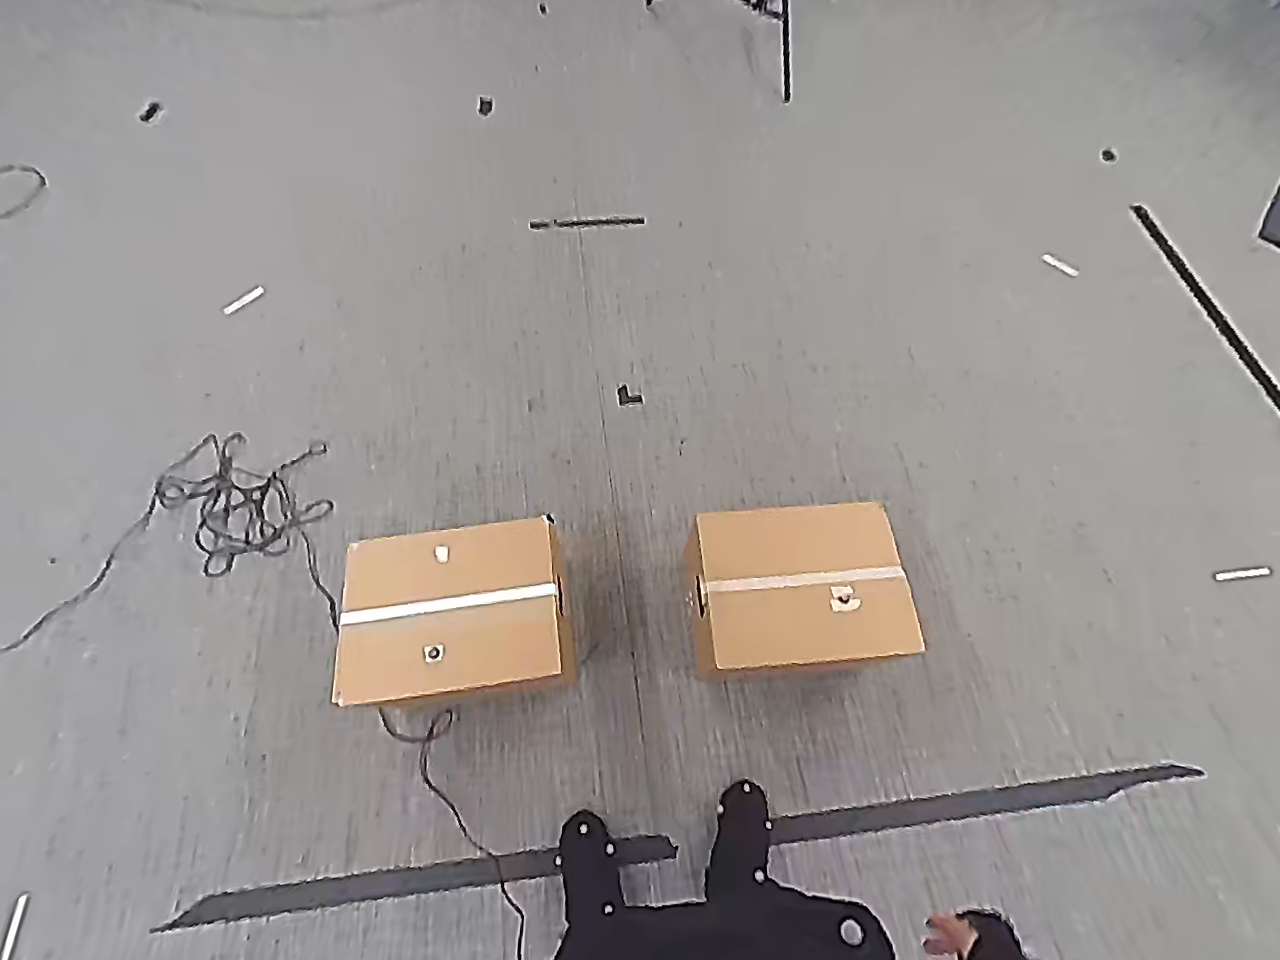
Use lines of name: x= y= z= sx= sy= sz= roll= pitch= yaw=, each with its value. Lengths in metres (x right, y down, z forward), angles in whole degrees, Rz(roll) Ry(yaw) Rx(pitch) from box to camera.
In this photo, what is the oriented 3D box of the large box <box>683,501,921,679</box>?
large box: x=0.326 y=0.259 z=1.222 sx=0.408 sy=0.320 sz=0.320 roll=-3 pitch=66 yaw=-3
